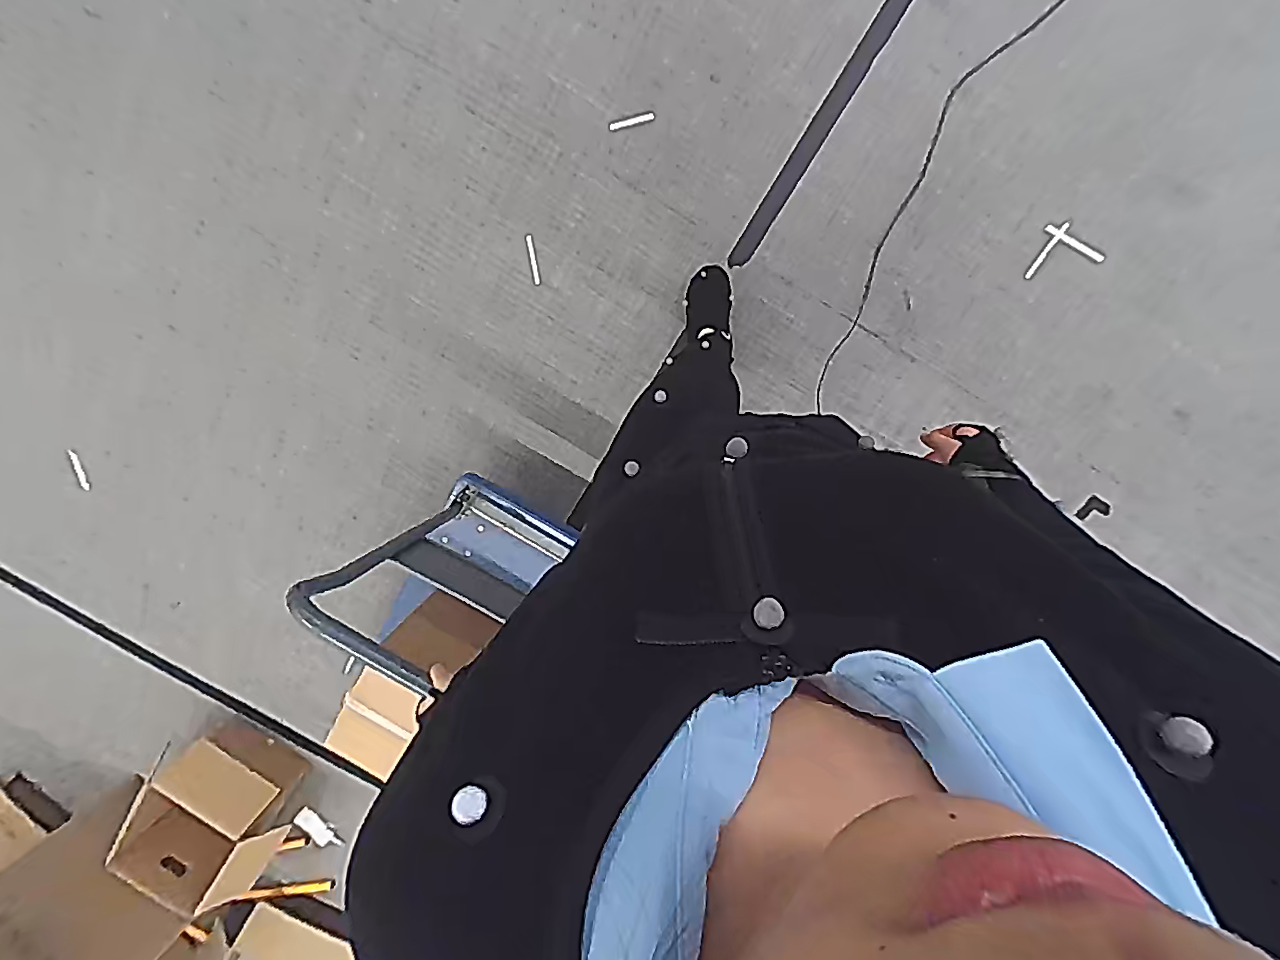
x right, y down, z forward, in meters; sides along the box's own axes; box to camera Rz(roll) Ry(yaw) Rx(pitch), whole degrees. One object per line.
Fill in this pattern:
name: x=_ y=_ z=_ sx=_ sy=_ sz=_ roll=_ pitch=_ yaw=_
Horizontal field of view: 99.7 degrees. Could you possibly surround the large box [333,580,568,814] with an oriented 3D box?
large box: x=-0.451 y=0.521 z=1.356 sx=0.408 sy=0.320 sz=0.320 roll=32 pitch=106 yaw=-4
